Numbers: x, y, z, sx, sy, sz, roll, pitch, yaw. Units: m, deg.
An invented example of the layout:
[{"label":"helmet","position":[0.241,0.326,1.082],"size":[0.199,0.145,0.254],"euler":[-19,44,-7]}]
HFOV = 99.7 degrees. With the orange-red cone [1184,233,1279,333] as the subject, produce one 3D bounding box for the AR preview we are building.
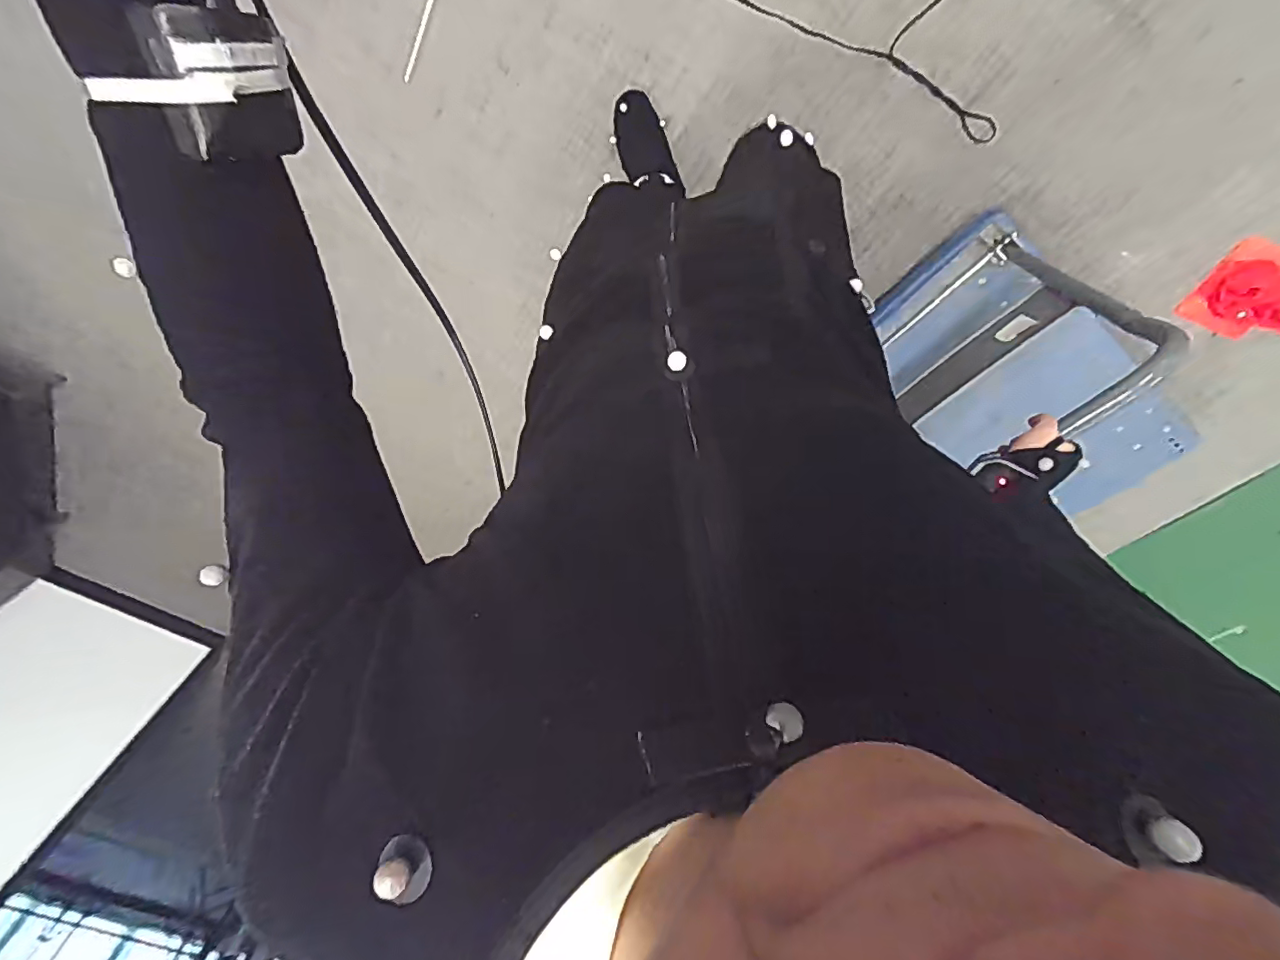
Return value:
[{"label":"orange-red cone","position":[1.448,-0.369,1.164],"size":[0.198,0.360,0.199],"euler":[19,126,-7]}]
